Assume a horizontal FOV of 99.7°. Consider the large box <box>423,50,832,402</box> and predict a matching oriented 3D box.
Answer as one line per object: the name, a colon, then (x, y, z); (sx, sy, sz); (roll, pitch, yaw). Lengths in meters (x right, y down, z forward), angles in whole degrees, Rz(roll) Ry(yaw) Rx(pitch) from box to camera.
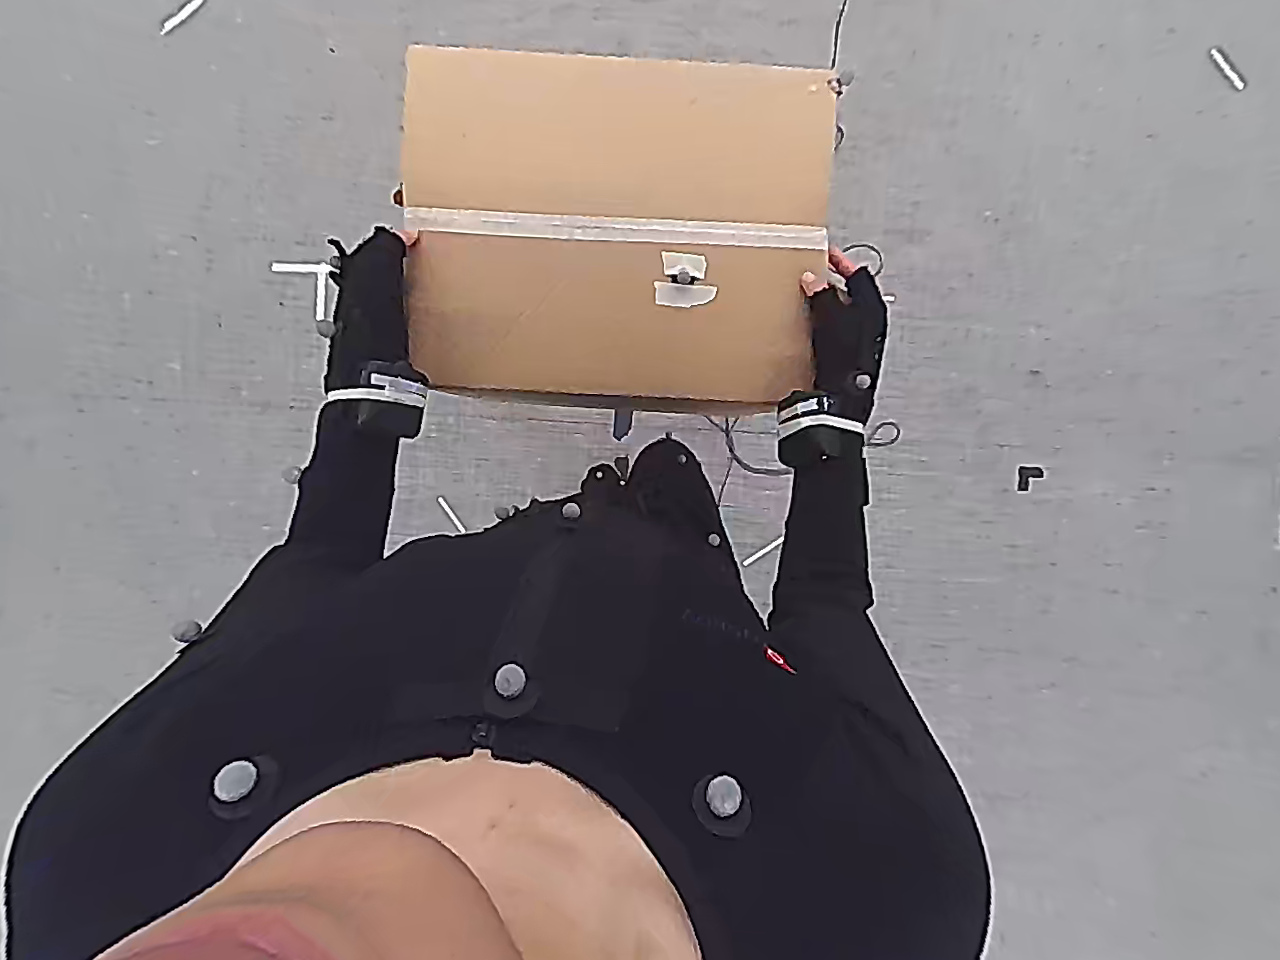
large box: (-0.020, -0.268, 0.684); (0.408, 0.320, 0.320); (3, 96, -1)
